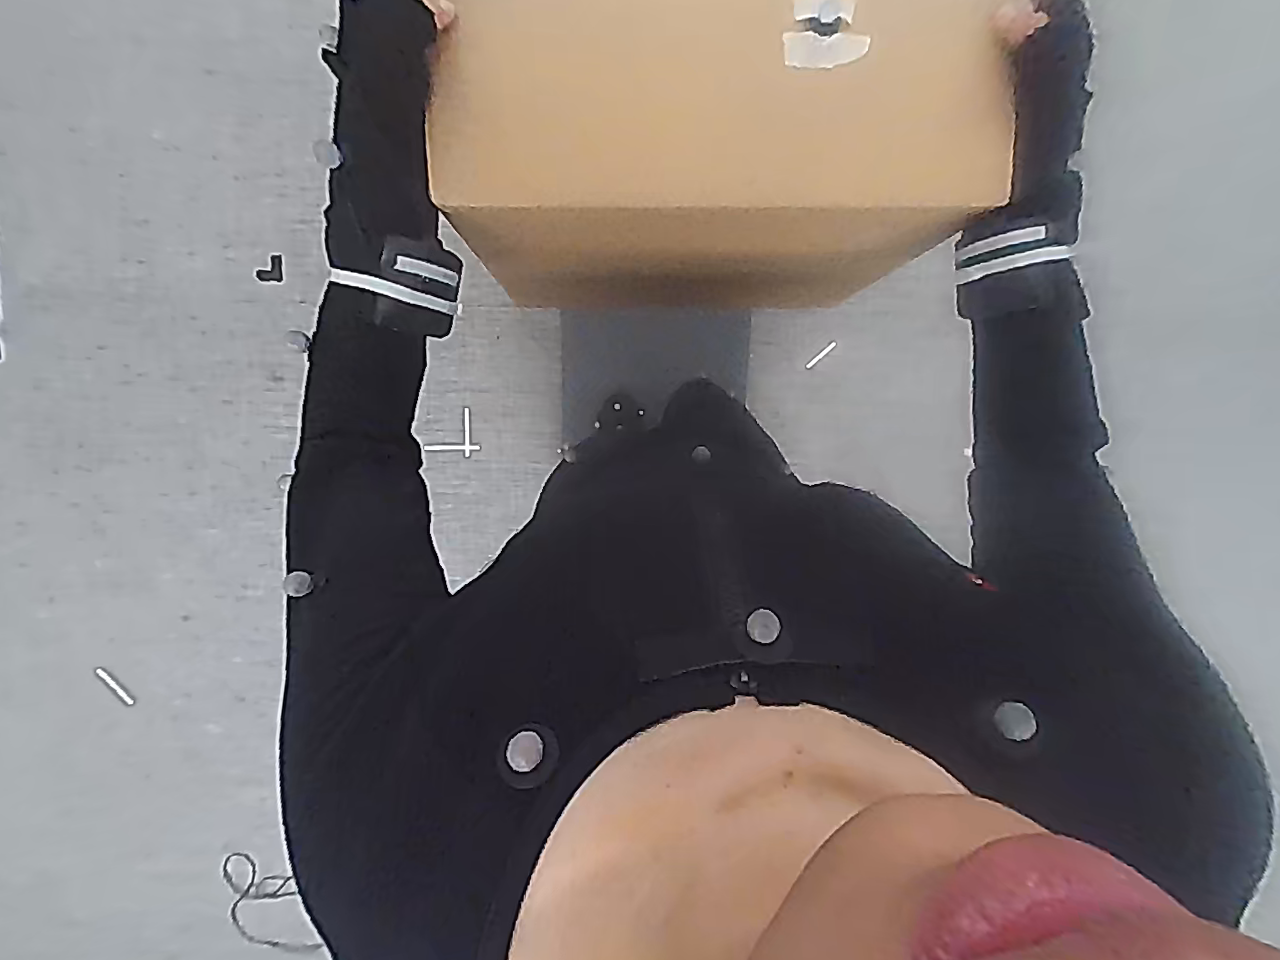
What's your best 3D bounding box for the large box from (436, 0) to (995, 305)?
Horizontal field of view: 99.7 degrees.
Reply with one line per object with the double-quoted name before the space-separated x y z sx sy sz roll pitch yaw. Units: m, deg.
"large box" 0.048 -0.367 0.527 0.408 0.320 0.320 -1 95 -3
